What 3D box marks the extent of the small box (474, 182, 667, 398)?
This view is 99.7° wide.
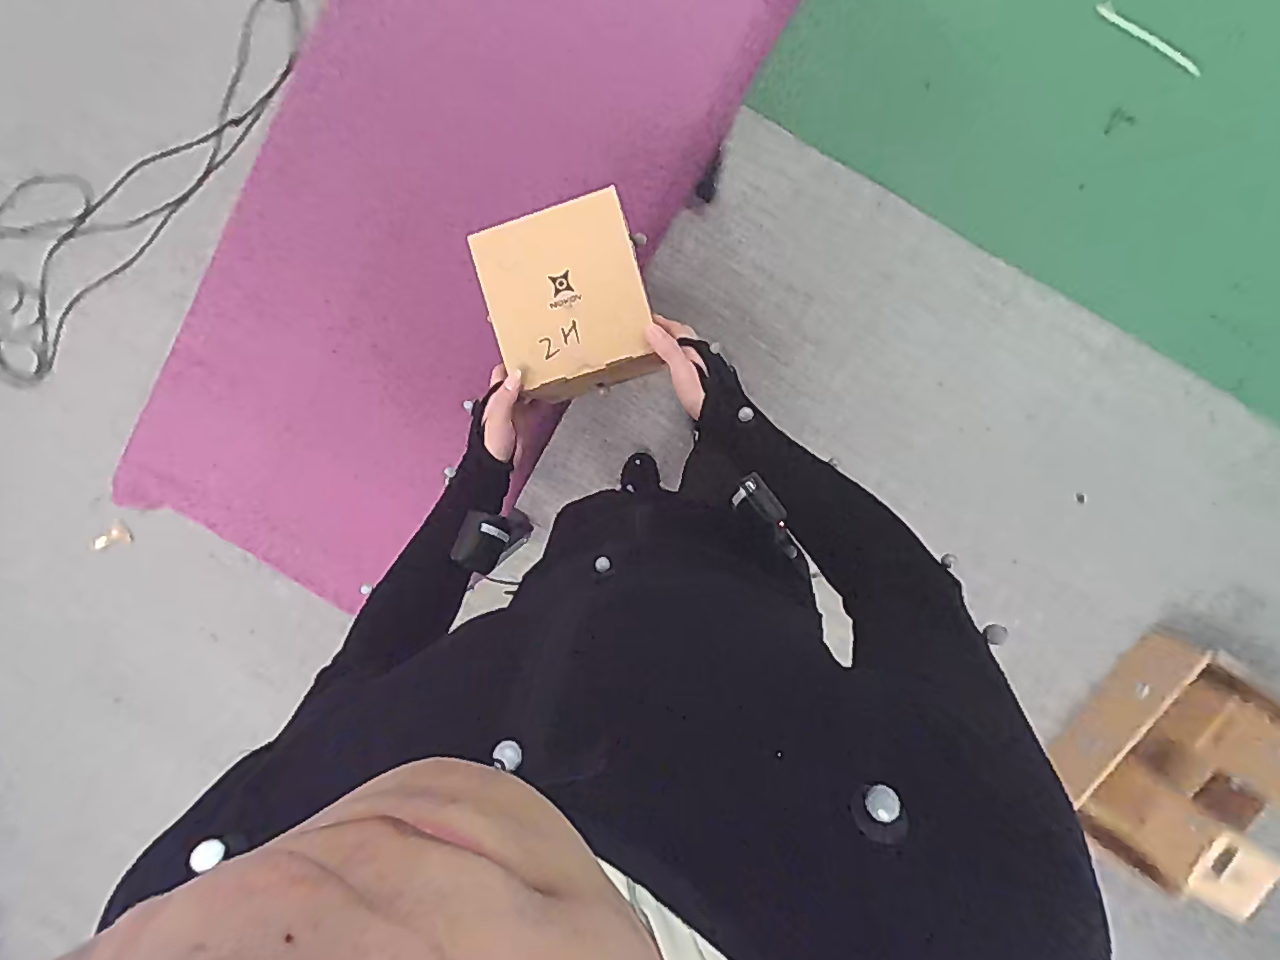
[{"bbox_3d":[-0.068,-0.205,0.635,0.168,0.176,0.179,-15,93,6],"label":"small box"}]

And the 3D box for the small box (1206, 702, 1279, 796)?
[{"bbox_3d":[1.547,0.668,1.290,0.179,0.176,0.168,32,96,-2],"label":"small box"}]
